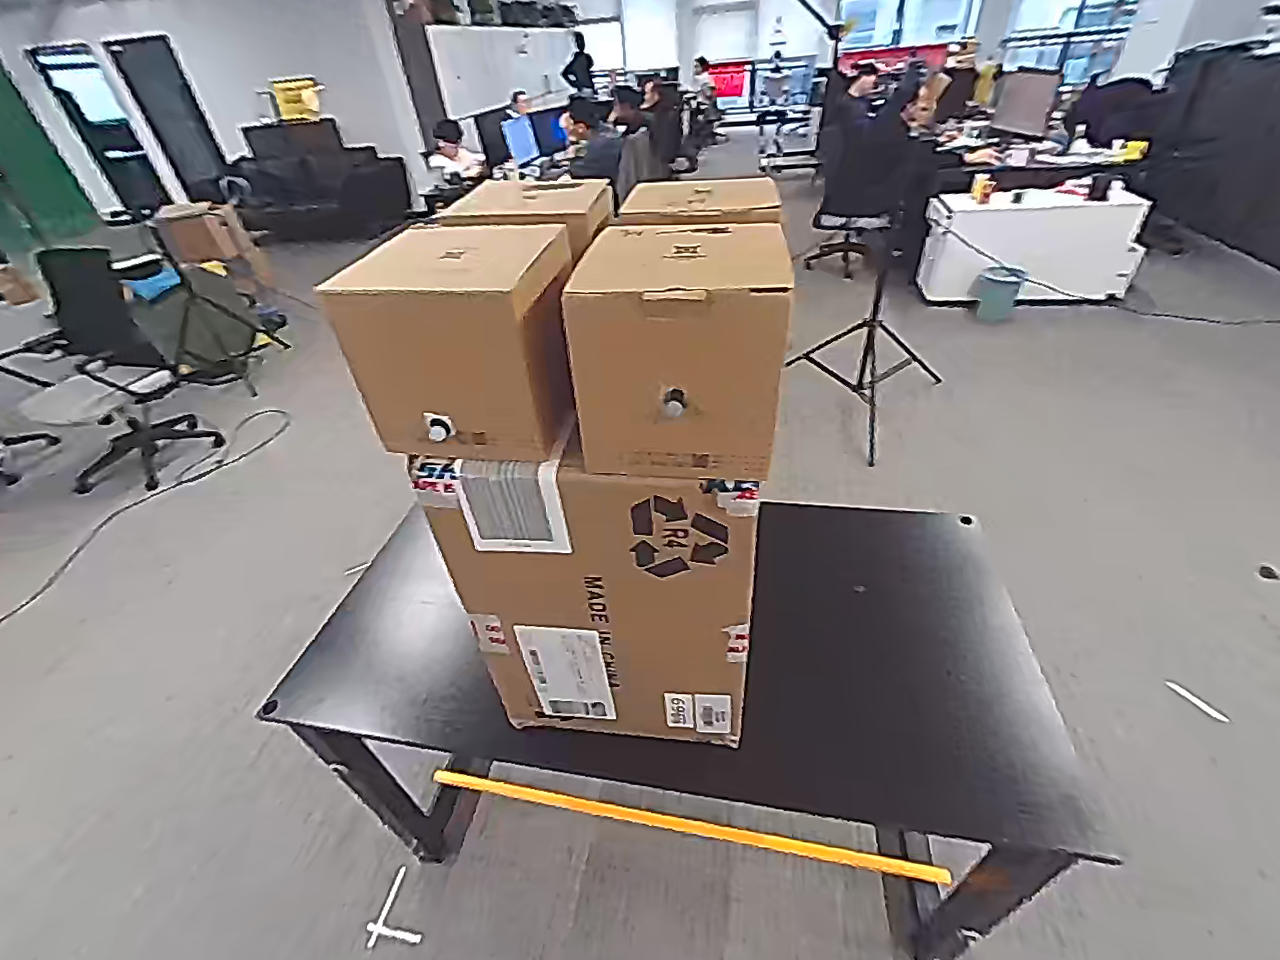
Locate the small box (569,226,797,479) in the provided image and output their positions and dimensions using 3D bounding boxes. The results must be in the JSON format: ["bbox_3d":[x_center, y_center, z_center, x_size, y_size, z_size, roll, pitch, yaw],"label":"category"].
[{"bbox_3d":[0.044,-0.118,0.493,0.168,0.176,0.179,4,41,7],"label":"small box"}]
